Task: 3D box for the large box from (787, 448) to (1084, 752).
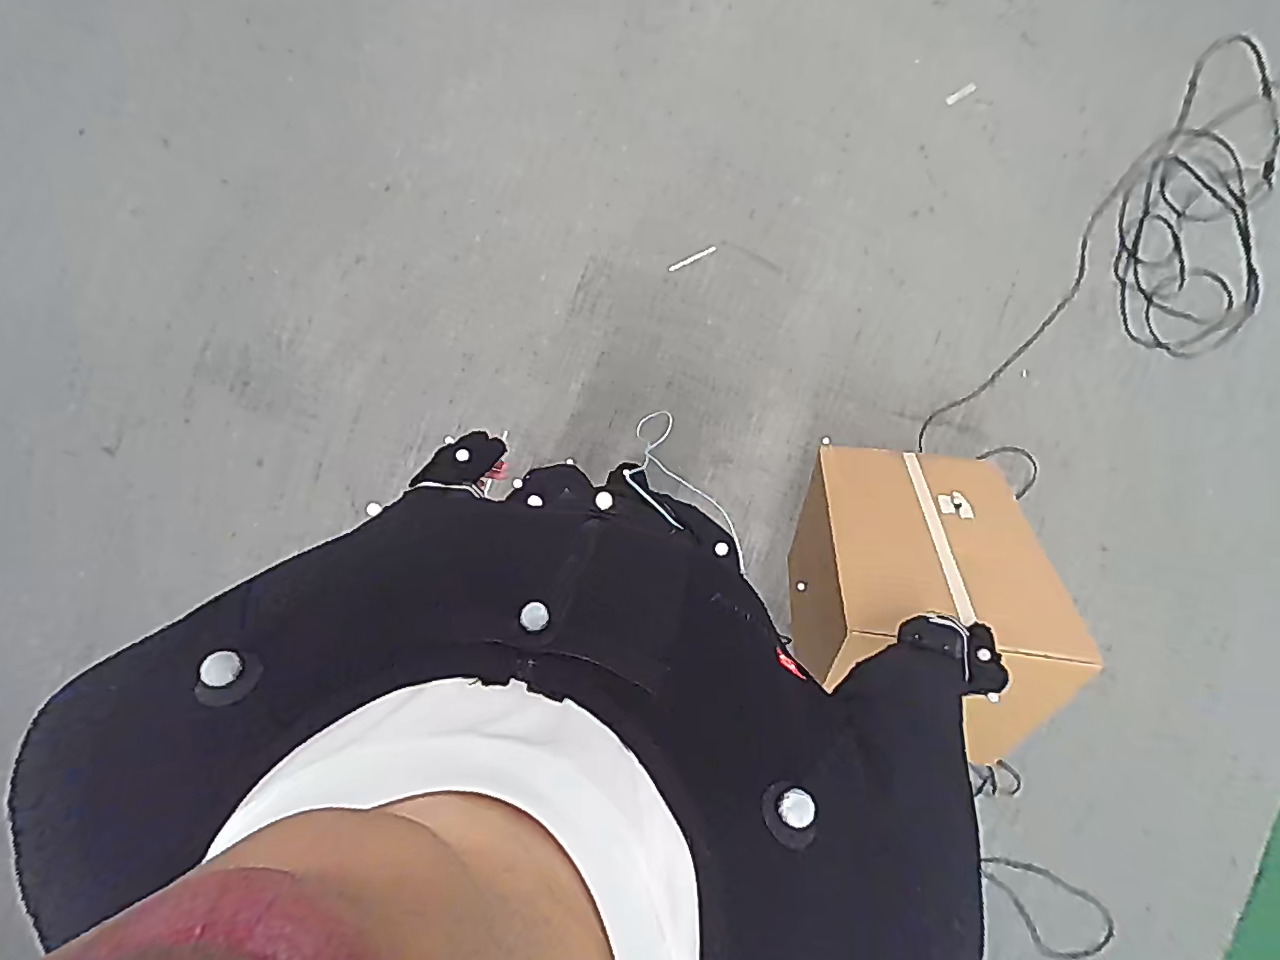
[{"bbox_3d":[0.449,0.197,0.951,0.320,0.408,0.320,8,132,5],"label":"large box"}]
